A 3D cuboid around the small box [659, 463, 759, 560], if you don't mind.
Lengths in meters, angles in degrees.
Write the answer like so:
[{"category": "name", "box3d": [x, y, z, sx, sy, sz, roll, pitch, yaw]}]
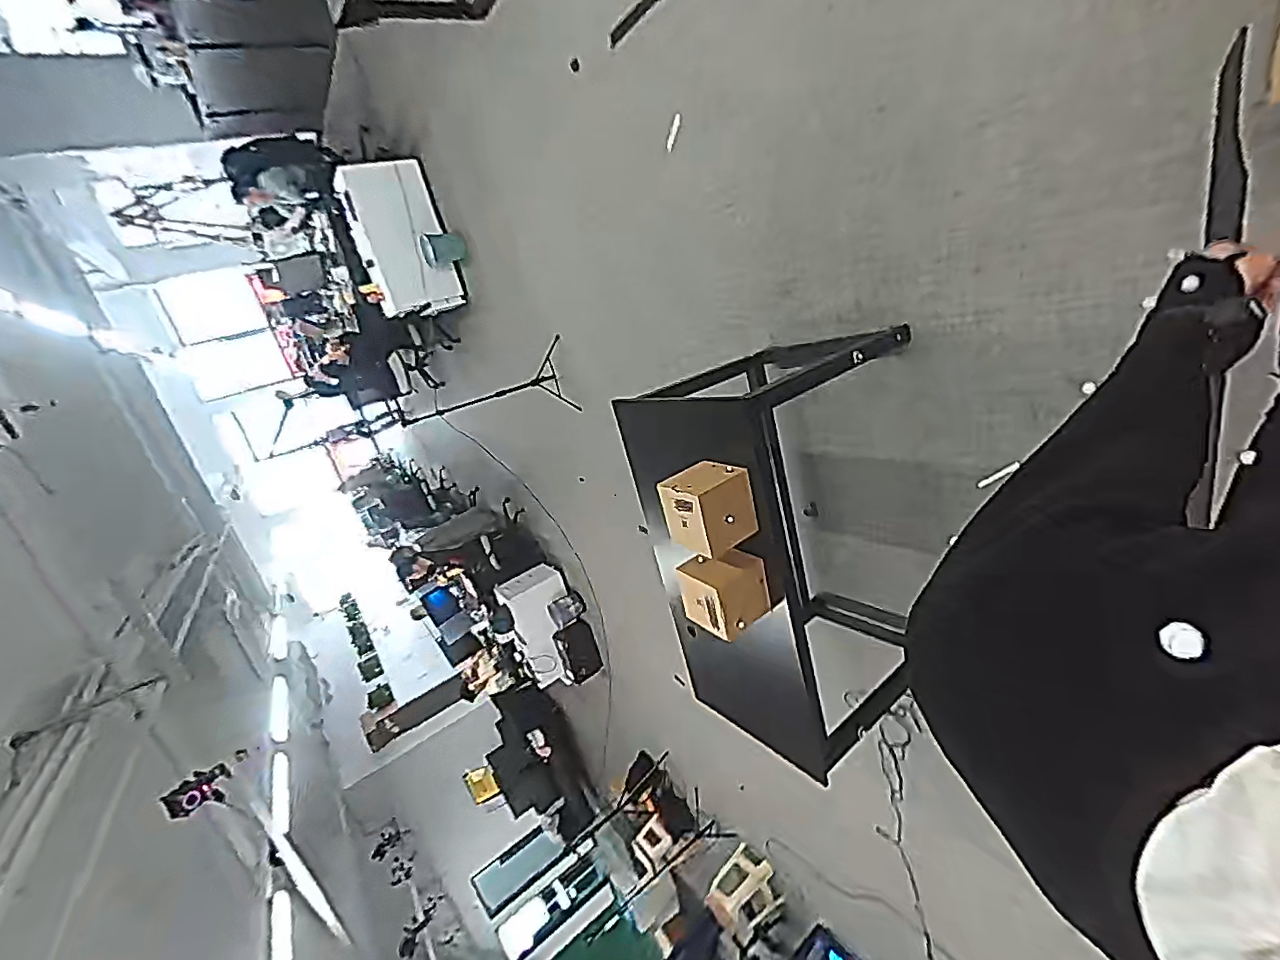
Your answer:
[{"category": "small box", "box3d": [0.178, 0.071, 1.380, 0.168, 0.176, 0.179, 16, 127, 55]}]
